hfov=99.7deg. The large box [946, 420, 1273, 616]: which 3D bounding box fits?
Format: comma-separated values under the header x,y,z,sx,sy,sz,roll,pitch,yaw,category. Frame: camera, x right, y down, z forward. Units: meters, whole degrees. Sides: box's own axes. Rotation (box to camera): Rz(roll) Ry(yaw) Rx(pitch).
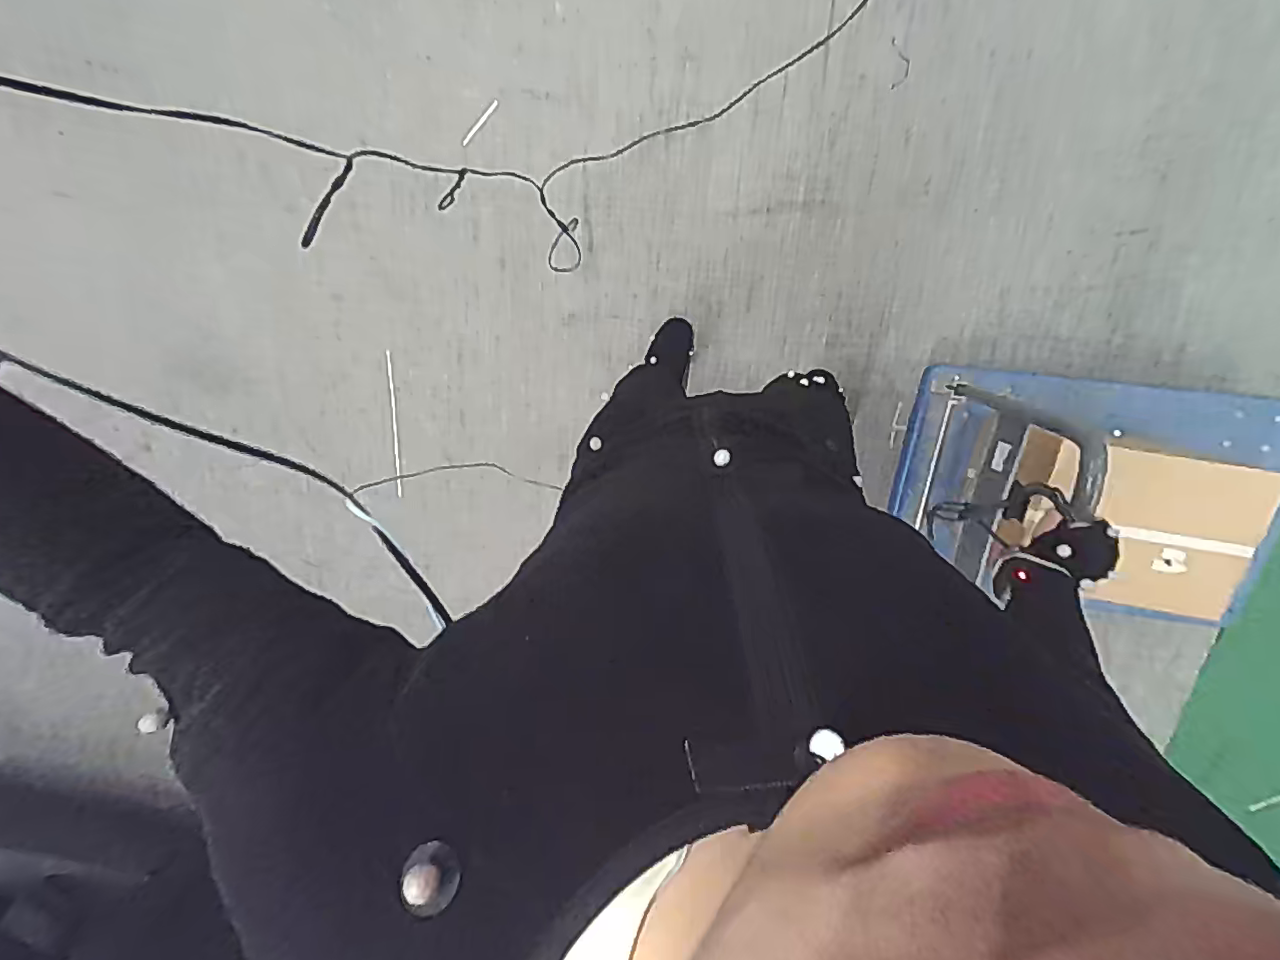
x,y,z,sx,sy,sz,roll,pitch,yaw,category
0.981,0.061,1.204,0.408,0.320,0.320,10,107,5,large box
